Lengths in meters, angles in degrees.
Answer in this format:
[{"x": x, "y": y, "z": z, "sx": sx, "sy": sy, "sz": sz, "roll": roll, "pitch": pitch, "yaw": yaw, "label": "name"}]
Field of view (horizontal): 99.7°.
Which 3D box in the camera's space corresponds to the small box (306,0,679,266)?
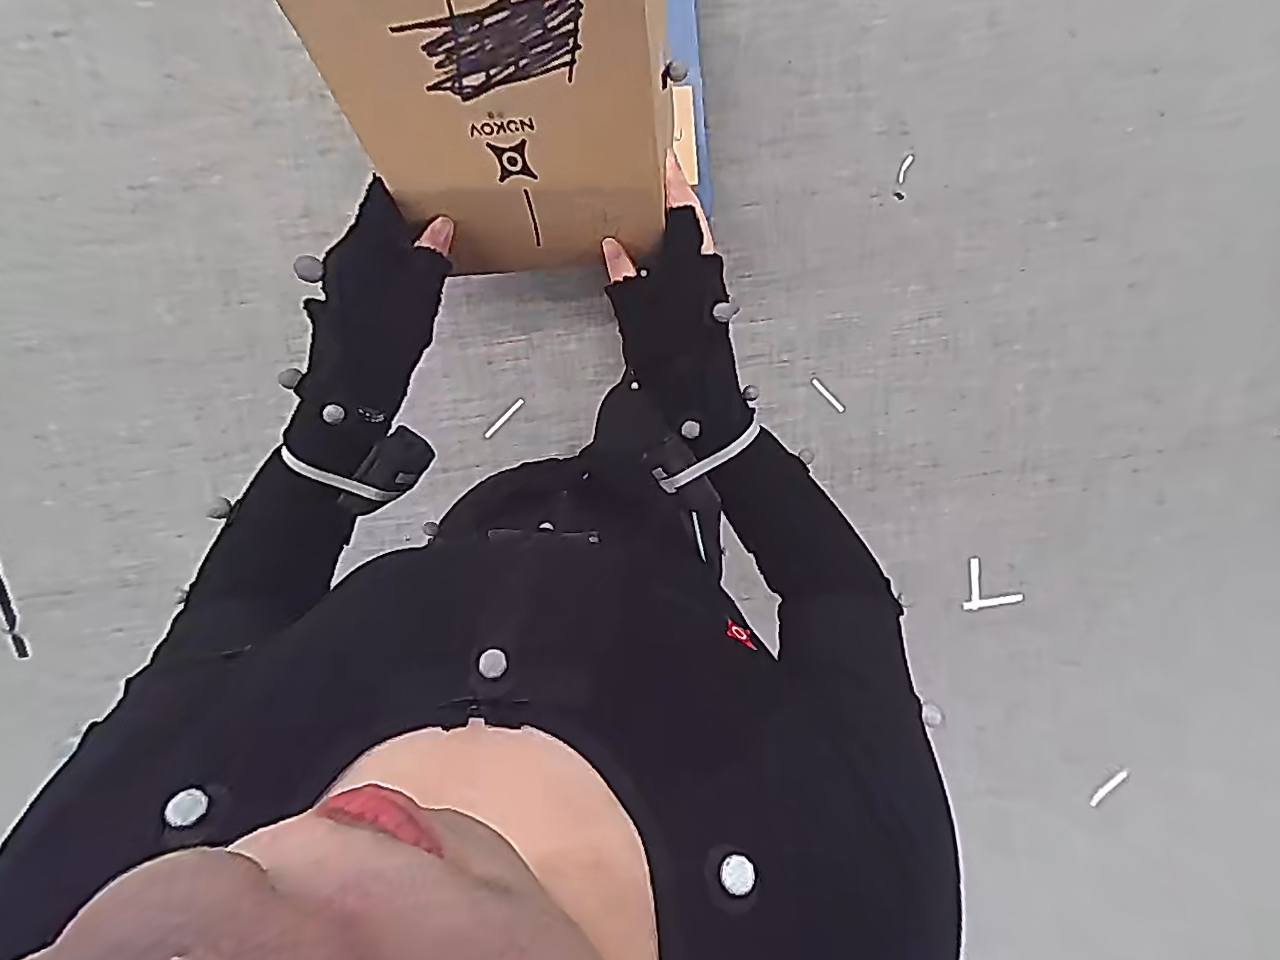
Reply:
[{"x": -0.063, "y": -0.265, "z": 0.334, "sx": 0.168, "sy": 0.179, "sz": 0.176, "roll": -1, "pitch": 64, "yaw": 8, "label": "small box"}]
